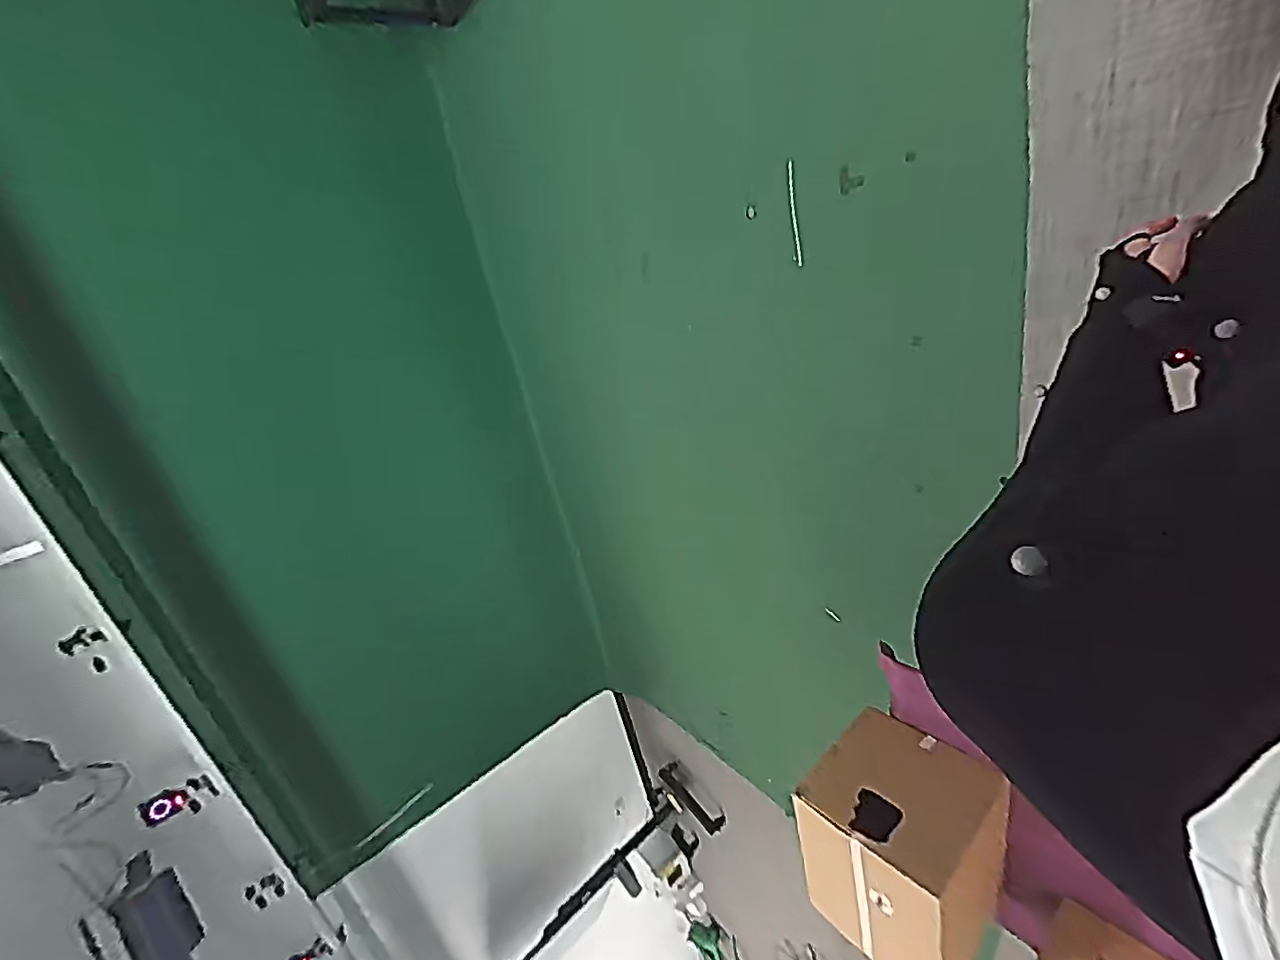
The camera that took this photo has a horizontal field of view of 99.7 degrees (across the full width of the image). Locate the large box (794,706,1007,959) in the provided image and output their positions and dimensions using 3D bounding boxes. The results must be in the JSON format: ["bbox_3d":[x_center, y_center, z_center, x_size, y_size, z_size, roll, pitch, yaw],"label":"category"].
[{"bbox_3d":[0.584,0.809,1.202,0.320,0.320,0.408,14,124,50],"label":"large box"}]
